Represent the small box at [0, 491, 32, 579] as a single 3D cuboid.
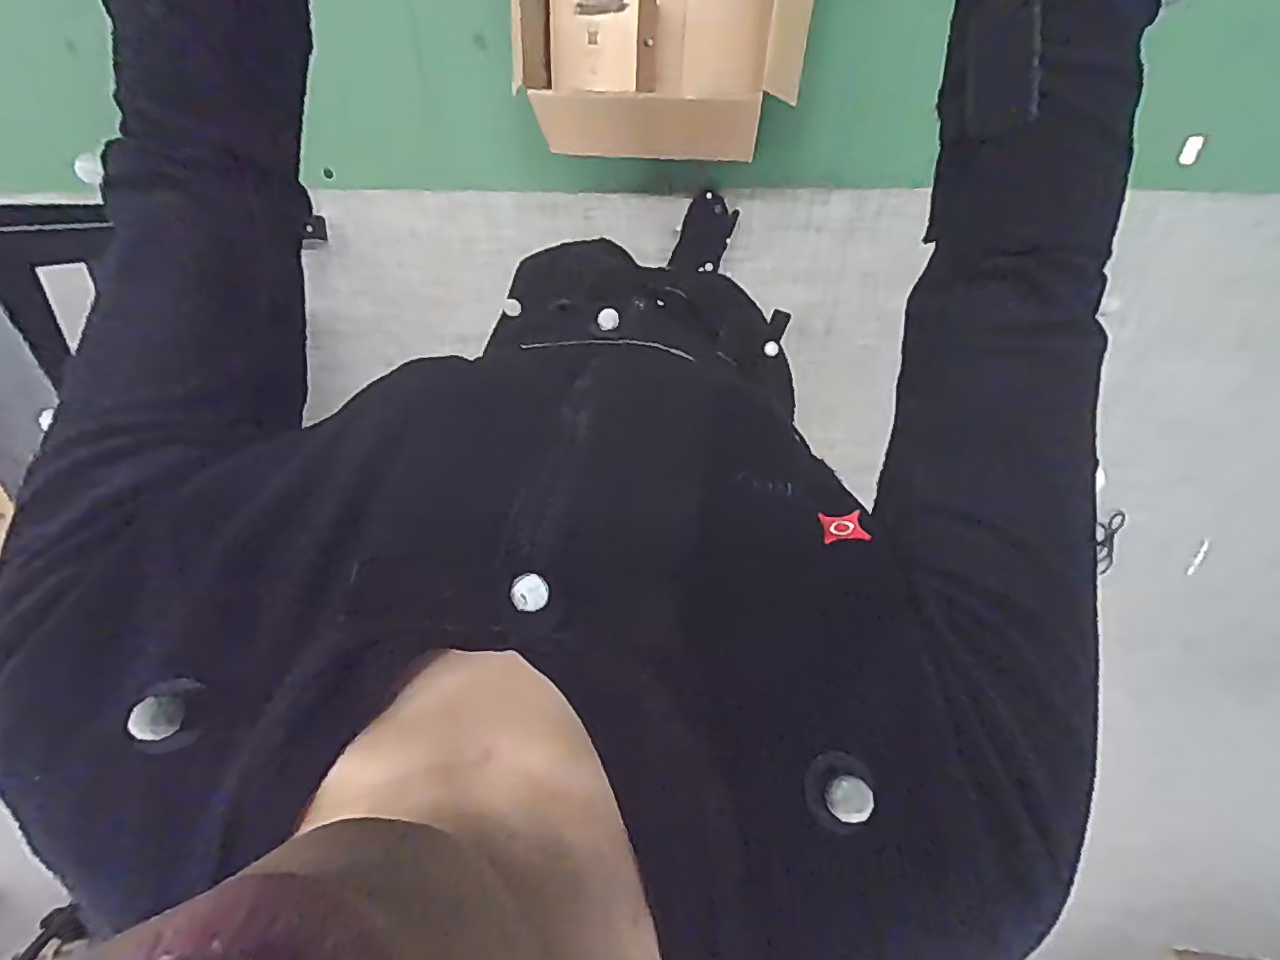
[{"bbox_3d":[-1.166,0.100,0.876,0.179,0.176,0.168,4,118,7],"label":"small box"}]
